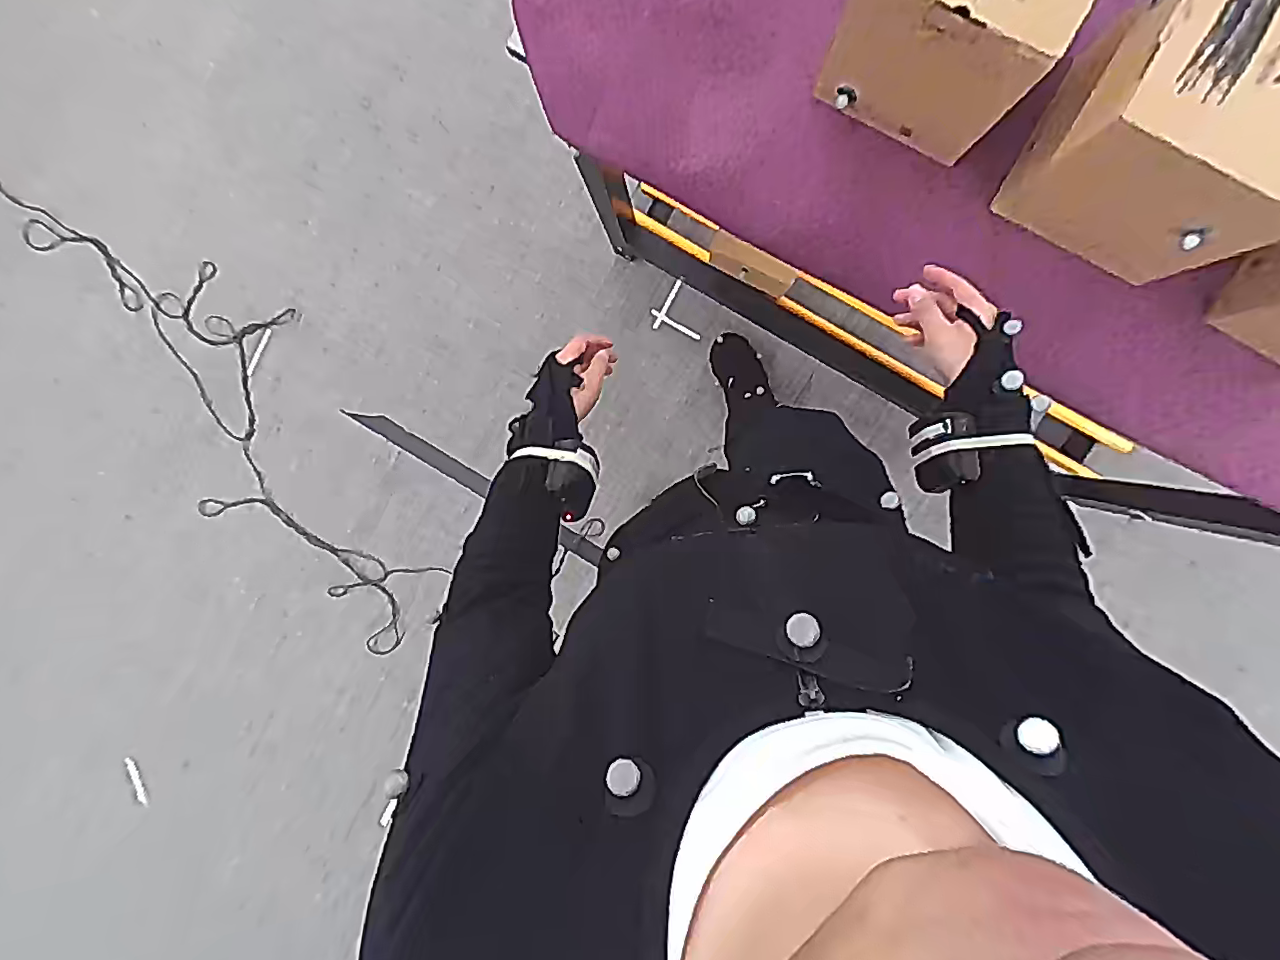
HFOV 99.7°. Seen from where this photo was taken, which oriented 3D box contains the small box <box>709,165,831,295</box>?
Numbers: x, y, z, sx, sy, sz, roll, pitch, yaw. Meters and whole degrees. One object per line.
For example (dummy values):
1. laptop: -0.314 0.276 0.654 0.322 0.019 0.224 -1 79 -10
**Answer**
1. small box: 0.252 -0.492 1.096 0.179 0.176 0.168 26 100 2
